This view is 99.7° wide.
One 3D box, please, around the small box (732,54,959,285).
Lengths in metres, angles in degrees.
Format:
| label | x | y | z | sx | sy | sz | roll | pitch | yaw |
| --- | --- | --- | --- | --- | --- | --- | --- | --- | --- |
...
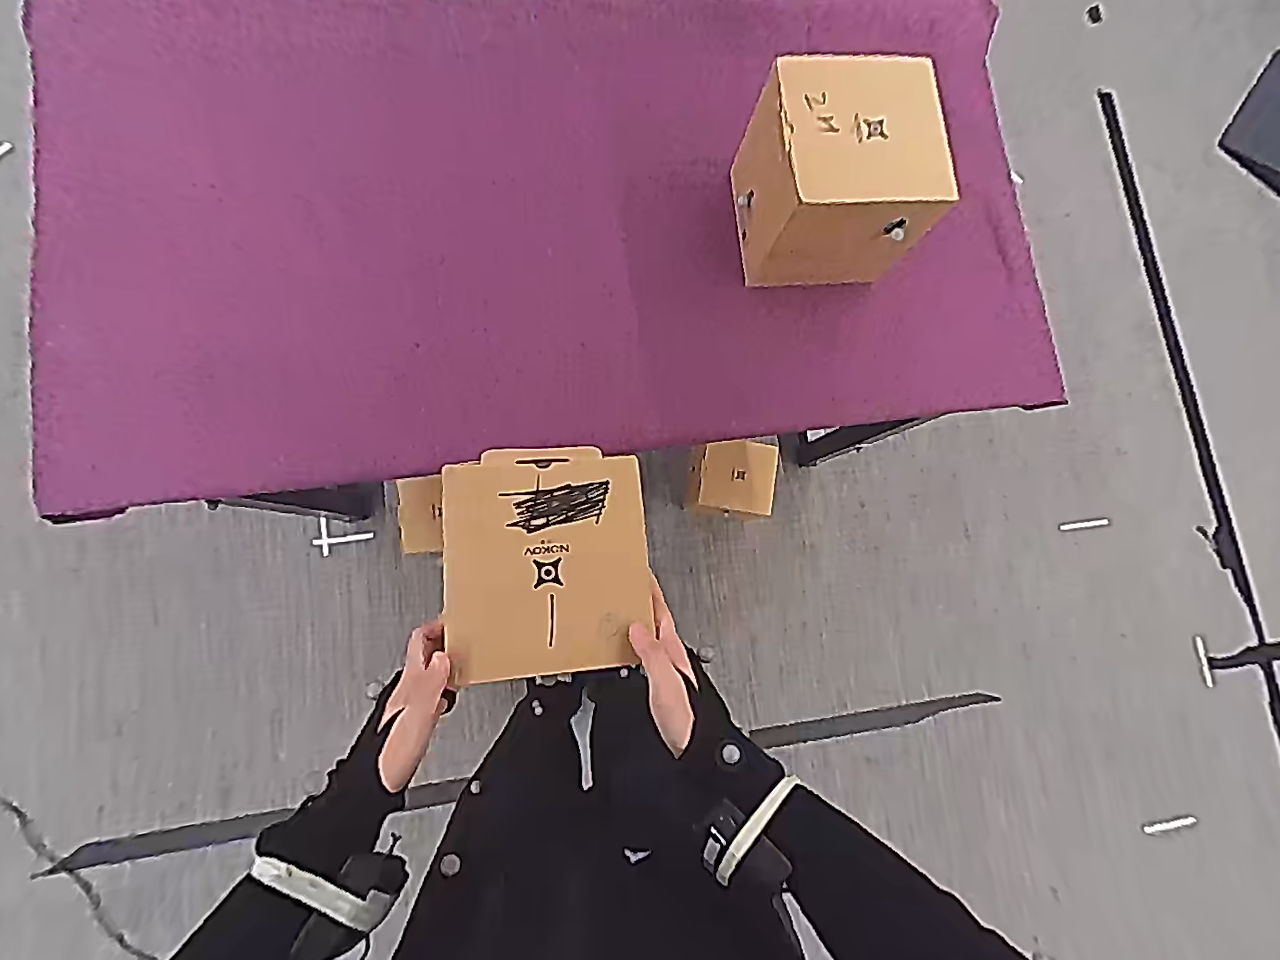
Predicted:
| label | x | y | z | sx | sy | sz | roll | pitch | yaw |
| --- | --- | --- | --- | --- | --- | --- | --- | --- | --- |
| small box | 0.221 | -0.342 | 0.623 | 0.179 | 0.176 | 0.168 | -5 | 82 | -7 |

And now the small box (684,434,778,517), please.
| label | x | y | z | sx | sy | sz | roll | pitch | yaw |
| --- | --- | --- | --- | --- | --- | --- | --- | --- | --- |
| small box | 0.217 | -0.004 | 1.319 | 0.179 | 0.176 | 0.168 | 10 | 82 | -4 |

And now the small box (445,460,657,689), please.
| label | x | y | z | sx | sy | sz | roll | pitch | yaw |
| --- | --- | --- | --- | --- | --- | --- | --- | --- | --- |
| small box | -0.086 | 0.091 | 0.515 | 0.168 | 0.176 | 0.179 | -4 | 76 | -10 |
